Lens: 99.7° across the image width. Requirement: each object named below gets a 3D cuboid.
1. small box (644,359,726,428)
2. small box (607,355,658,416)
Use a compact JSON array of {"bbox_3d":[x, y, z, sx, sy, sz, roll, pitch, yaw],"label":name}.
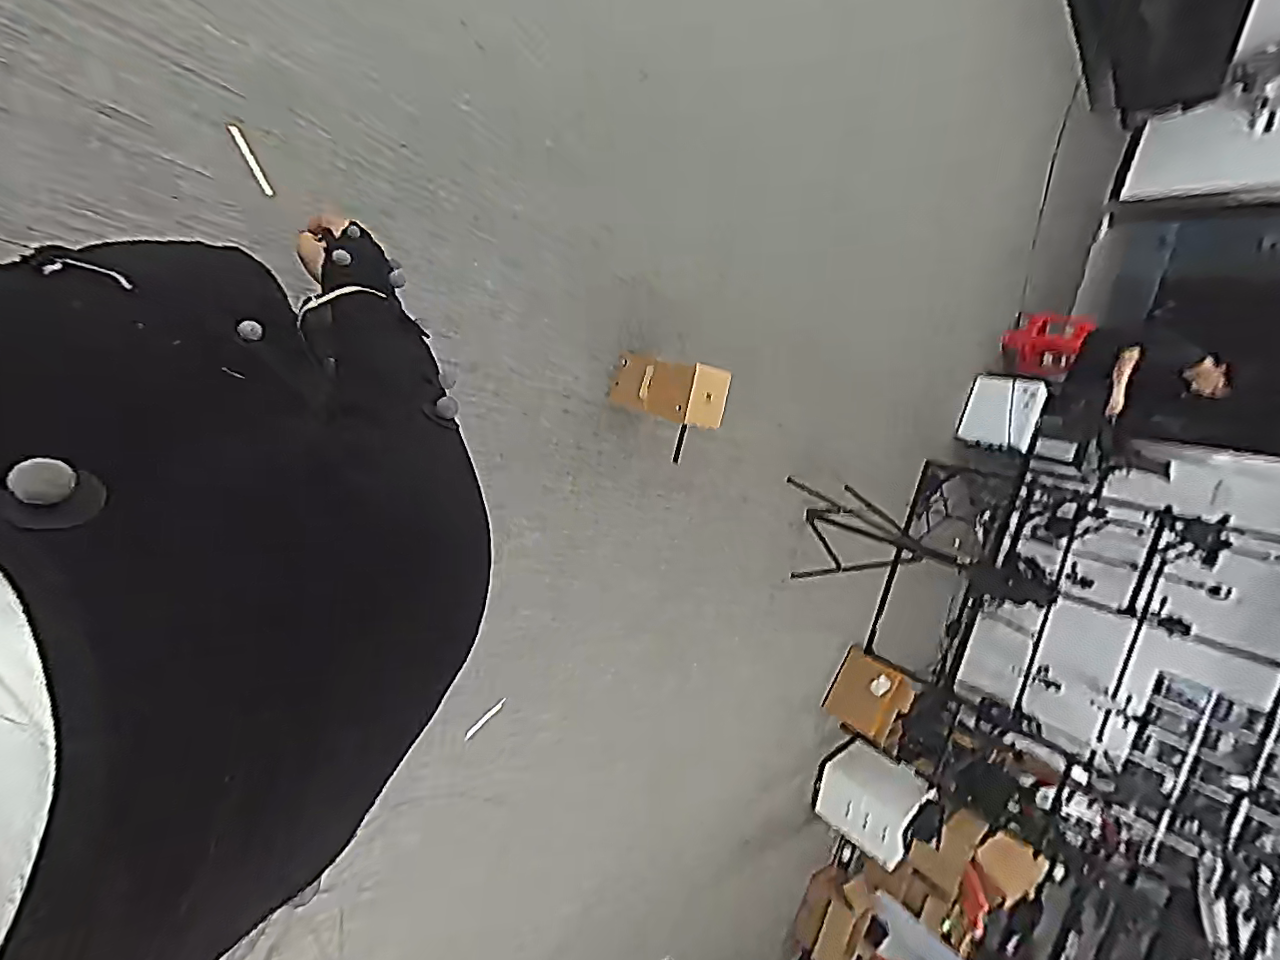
[{"bbox_3d":[0.134,-0.265,1.651,0.168,0.176,0.179,3,103,-44],"label":"small box"},{"bbox_3d":[0.019,-0.303,1.759,0.179,0.176,0.168,13,96,-46],"label":"small box"}]
